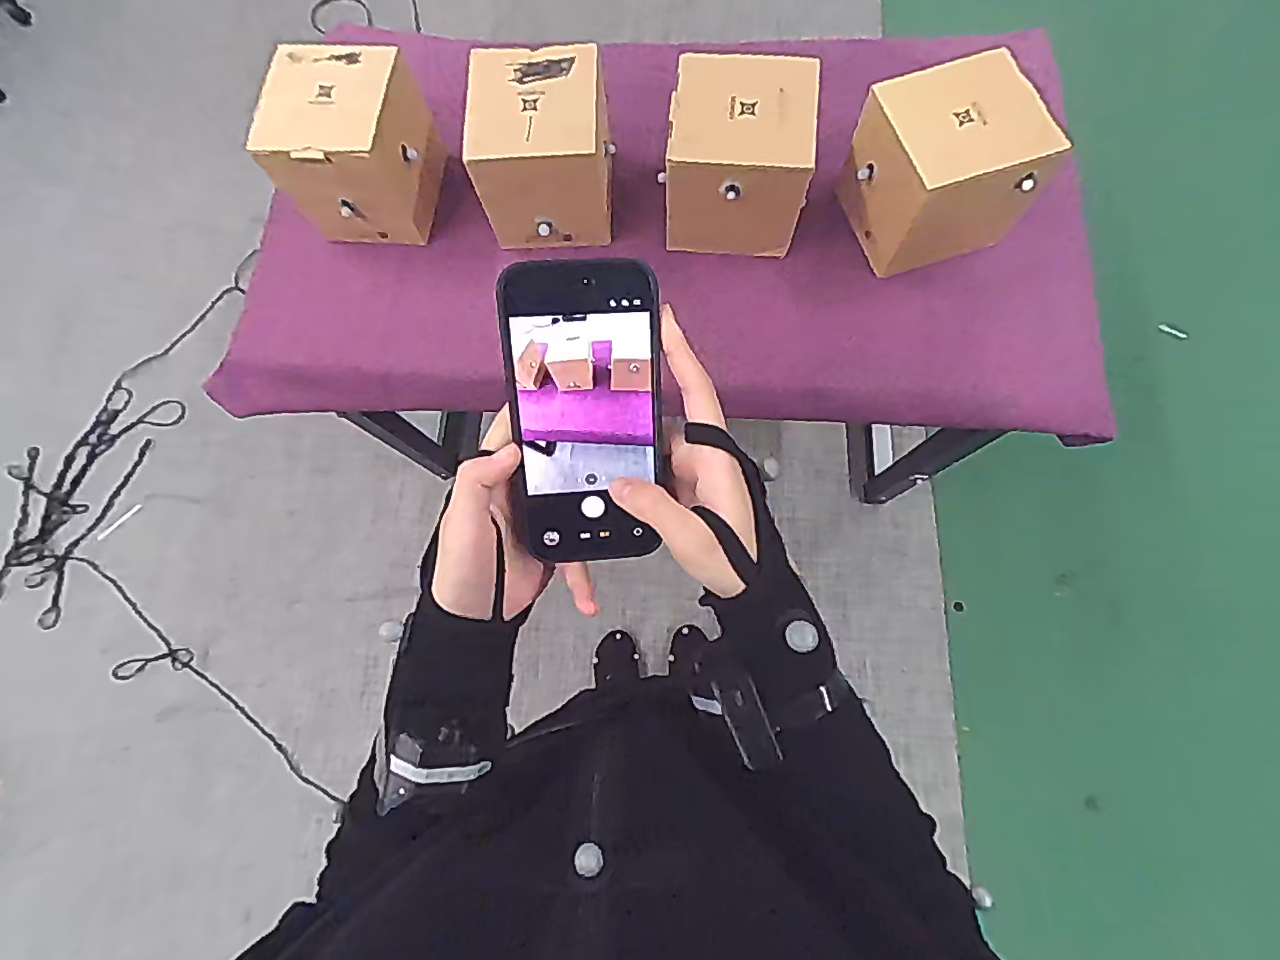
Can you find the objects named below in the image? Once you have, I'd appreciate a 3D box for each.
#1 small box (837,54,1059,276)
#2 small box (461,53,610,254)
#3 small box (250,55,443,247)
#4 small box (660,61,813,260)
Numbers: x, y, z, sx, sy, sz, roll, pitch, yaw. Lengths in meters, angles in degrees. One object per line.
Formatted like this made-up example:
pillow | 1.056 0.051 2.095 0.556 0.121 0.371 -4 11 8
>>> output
small box | 0.381 -0.402 0.715 0.179 0.176 0.168 -17 74 -2
small box | -0.134 -0.445 0.755 0.168 0.176 0.179 -1 75 3
small box | -0.401 -0.459 0.773 0.168 0.176 0.179 4 76 4
small box | 0.124 -0.423 0.736 0.179 0.176 0.168 6 76 4
